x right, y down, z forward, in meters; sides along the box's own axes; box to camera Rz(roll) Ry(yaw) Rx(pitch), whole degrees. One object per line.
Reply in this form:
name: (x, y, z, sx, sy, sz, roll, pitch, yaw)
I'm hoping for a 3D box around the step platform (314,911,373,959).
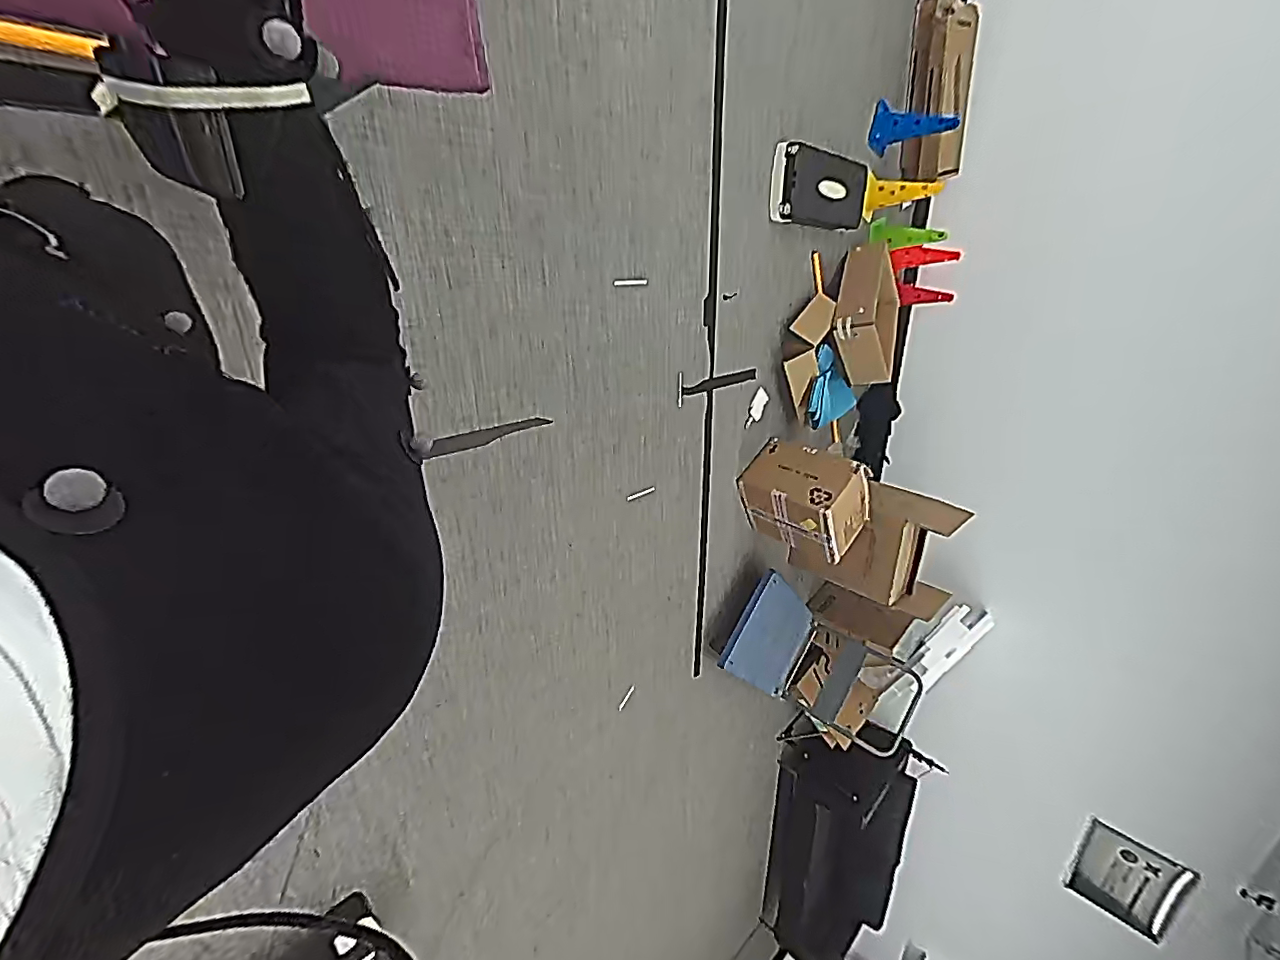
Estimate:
step platform: (-1.088, 1.581, 1.478, 0.684, 0.204, 0.286, -22, 122, -42)
